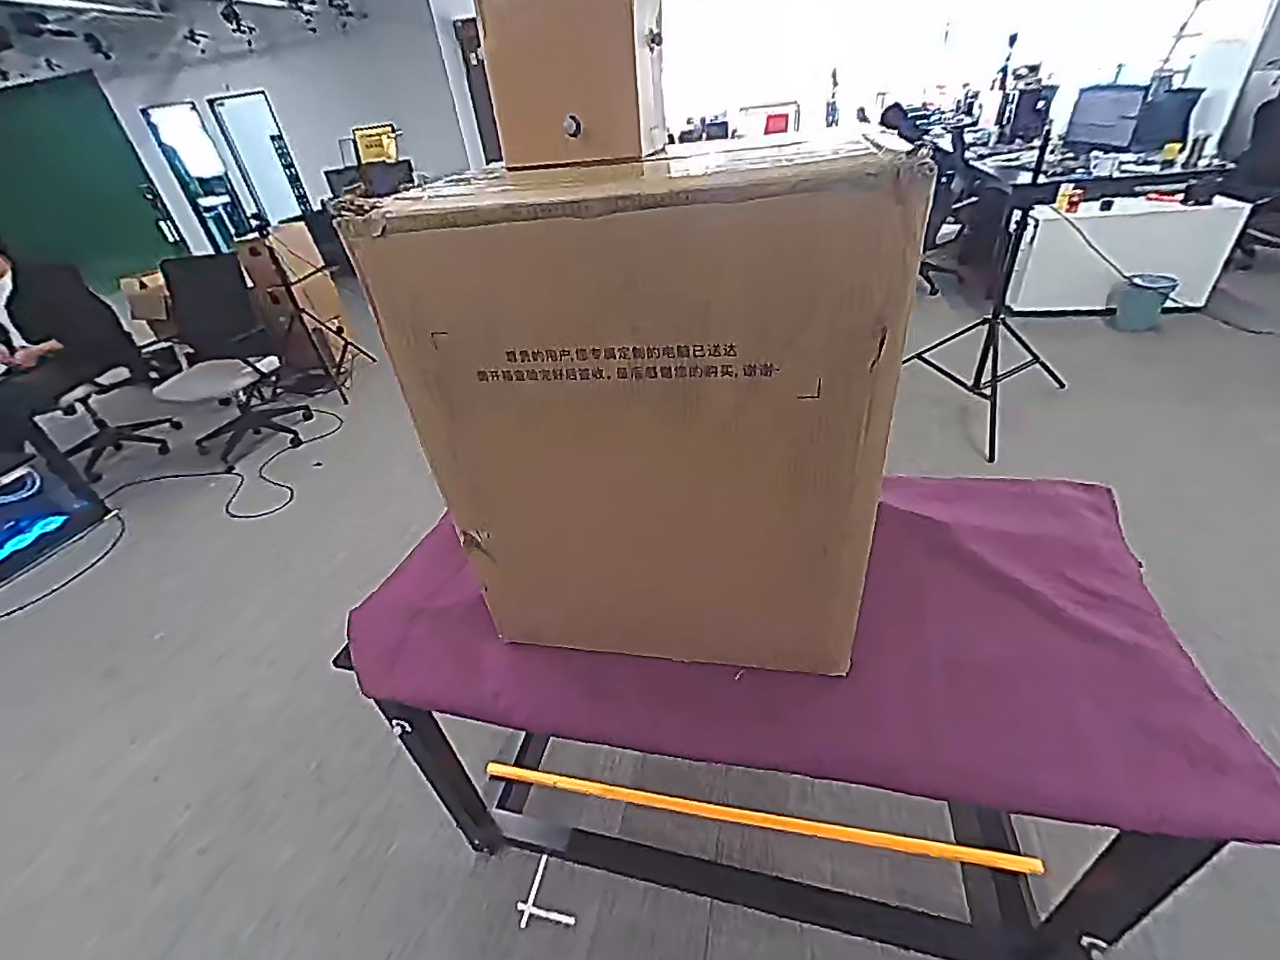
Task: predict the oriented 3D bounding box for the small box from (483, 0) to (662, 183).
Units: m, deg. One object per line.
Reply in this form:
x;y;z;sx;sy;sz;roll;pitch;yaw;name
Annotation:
-0.075;-0.476;0.666;0.179;0.176;0.168;3;36;14;small box
